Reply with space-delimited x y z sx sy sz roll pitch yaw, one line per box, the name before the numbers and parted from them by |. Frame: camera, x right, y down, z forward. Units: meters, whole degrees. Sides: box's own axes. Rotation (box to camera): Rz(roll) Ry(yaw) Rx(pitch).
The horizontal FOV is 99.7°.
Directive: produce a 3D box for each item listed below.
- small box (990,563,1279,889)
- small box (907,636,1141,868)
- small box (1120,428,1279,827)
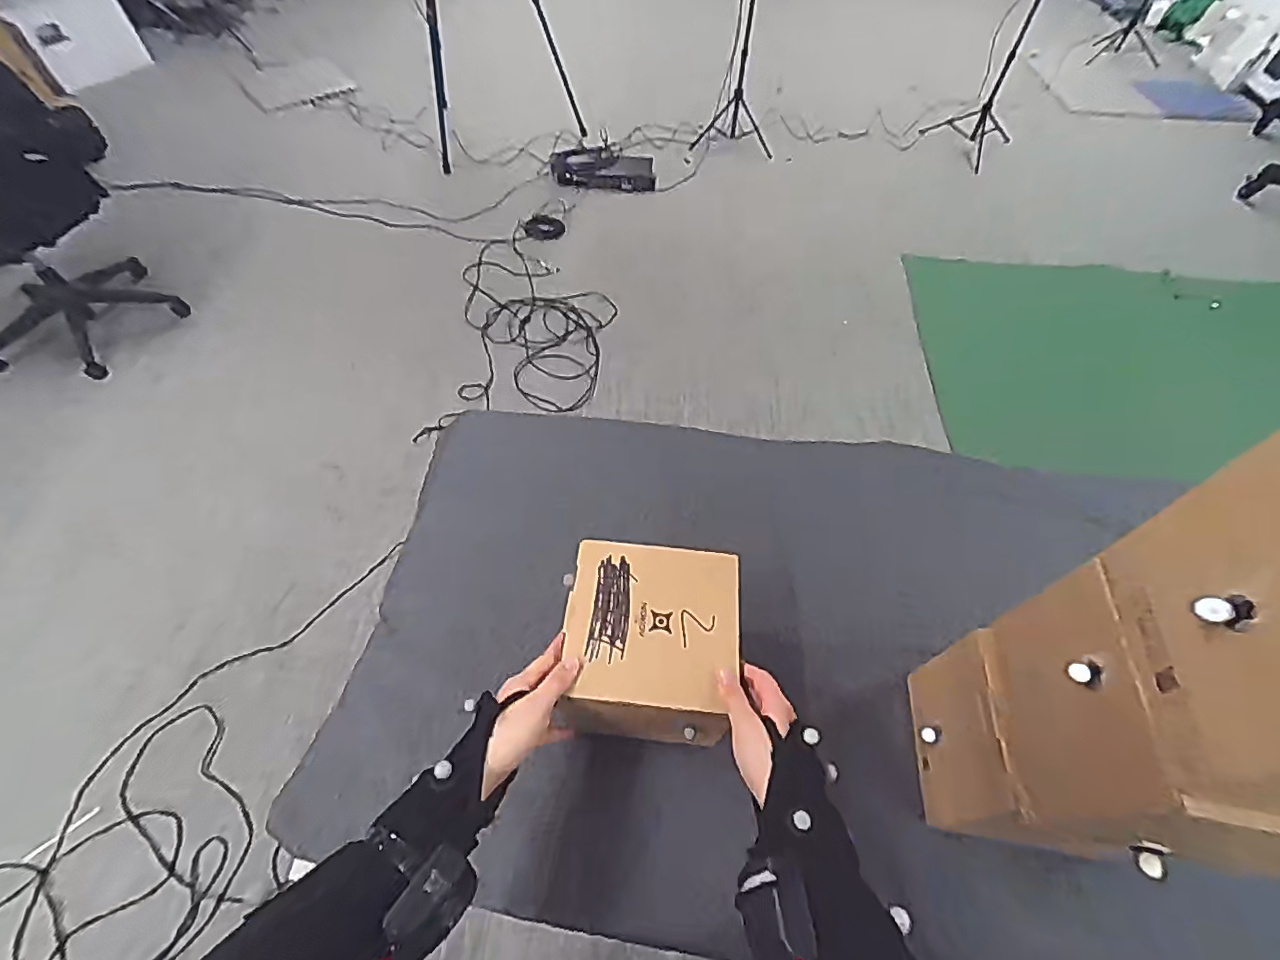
small box | 0.404 0.190 0.416 0.168 0.176 0.179 9 55 7
small box | 0.403 0.280 0.551 0.179 0.176 0.168 8 54 5
small box | 0.408 0.092 0.285 0.179 0.176 0.168 10 54 8
